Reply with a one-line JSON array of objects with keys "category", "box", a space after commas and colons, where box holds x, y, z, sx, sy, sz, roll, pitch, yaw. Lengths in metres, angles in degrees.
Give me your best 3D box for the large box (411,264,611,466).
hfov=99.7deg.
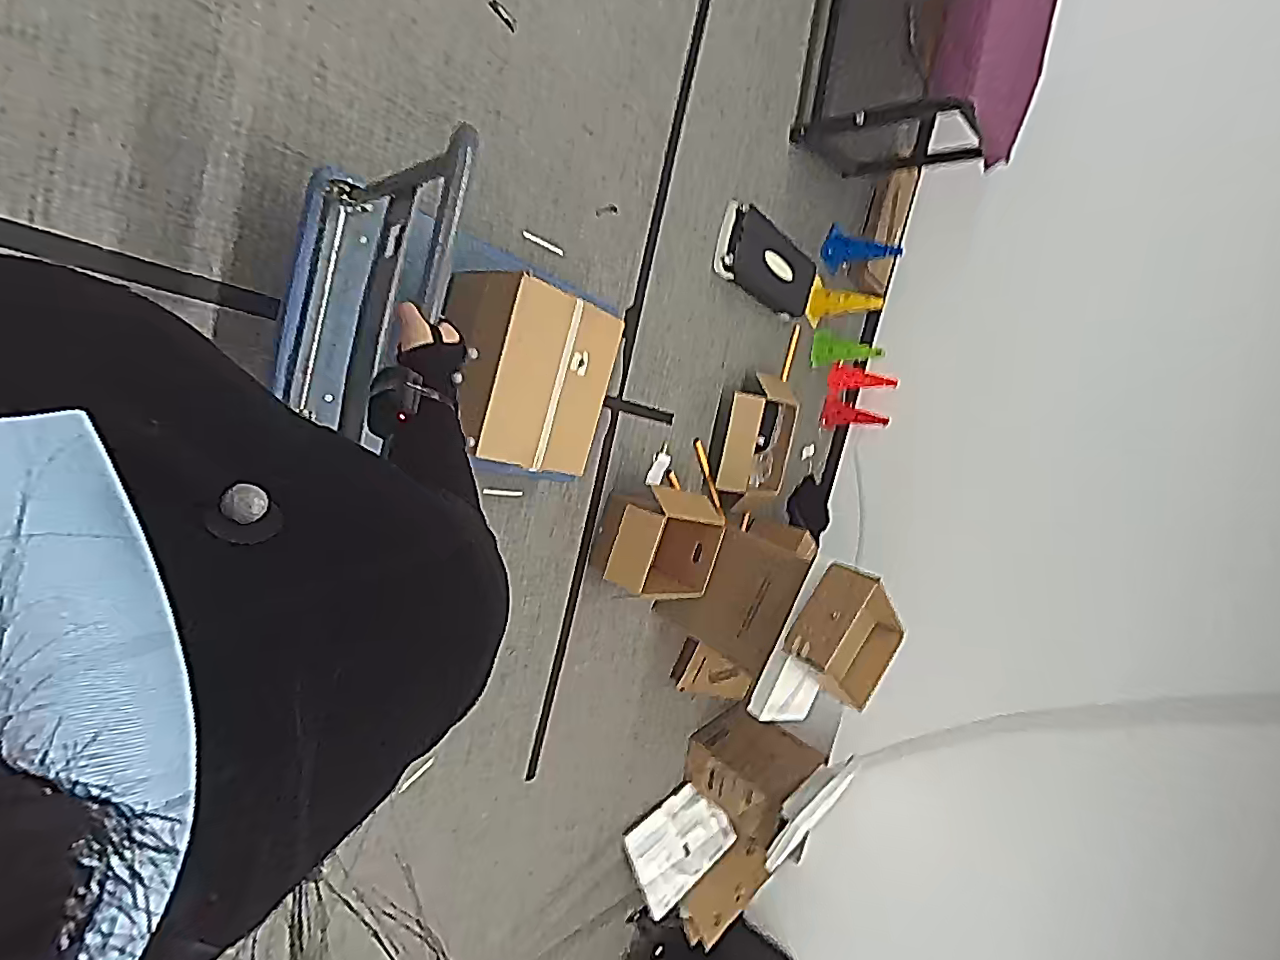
[{"category": "large box", "box": [-0.326, -0.275, 1.349, 0.320, 0.320, 0.408, 11, 96, -49]}]
